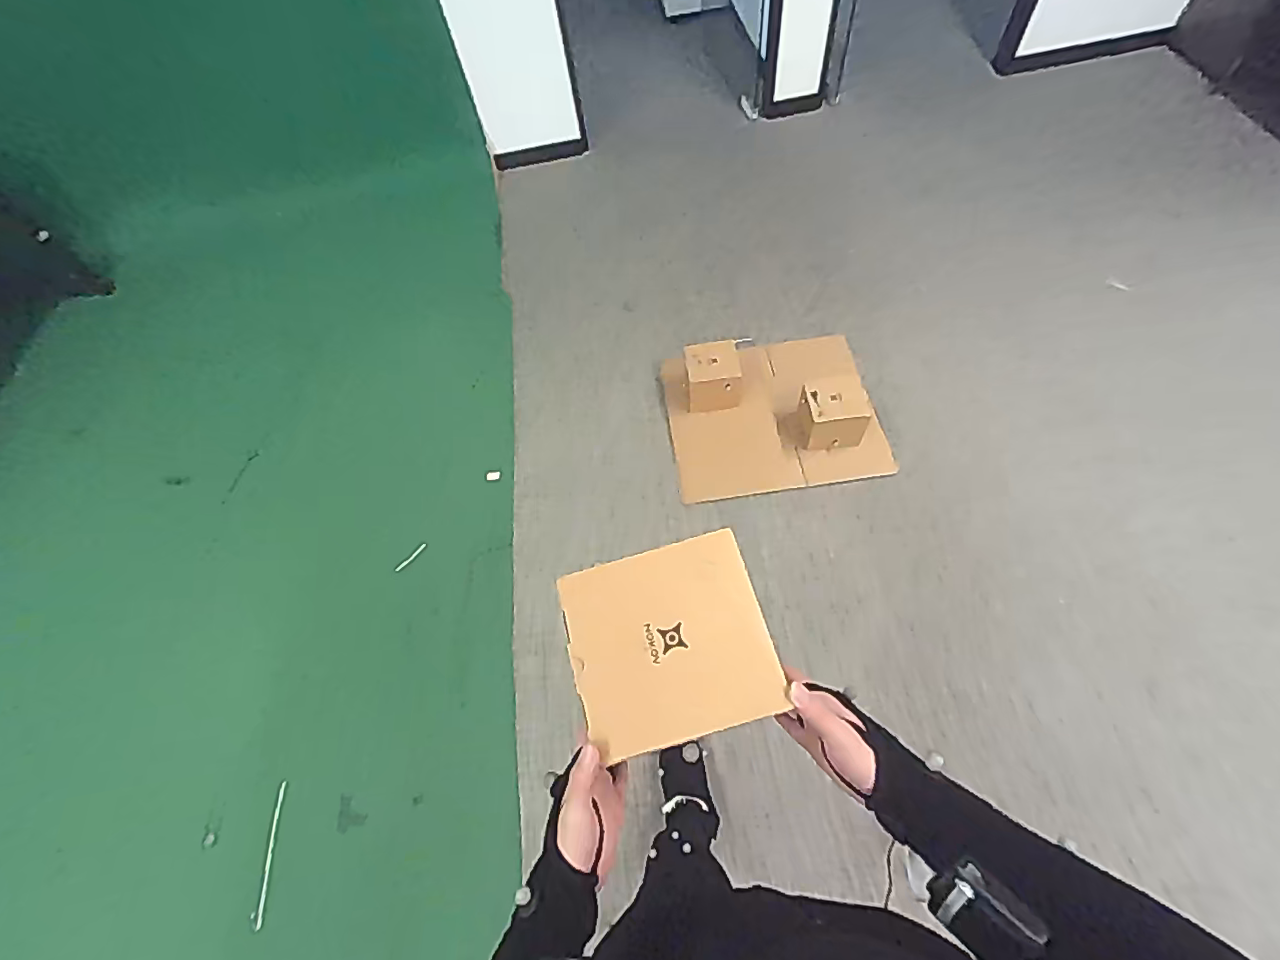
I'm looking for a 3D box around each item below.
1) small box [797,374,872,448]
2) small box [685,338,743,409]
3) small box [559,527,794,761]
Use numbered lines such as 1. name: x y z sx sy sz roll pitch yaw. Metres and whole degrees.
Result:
1. small box: 0.621 -0.220 1.745 0.179 0.176 0.168 -6 61 4
2. small box: 0.251 -0.363 1.863 0.179 0.176 0.168 -7 60 3
3. small box: 0.035 0.167 0.551 0.179 0.176 0.168 -17 67 1
